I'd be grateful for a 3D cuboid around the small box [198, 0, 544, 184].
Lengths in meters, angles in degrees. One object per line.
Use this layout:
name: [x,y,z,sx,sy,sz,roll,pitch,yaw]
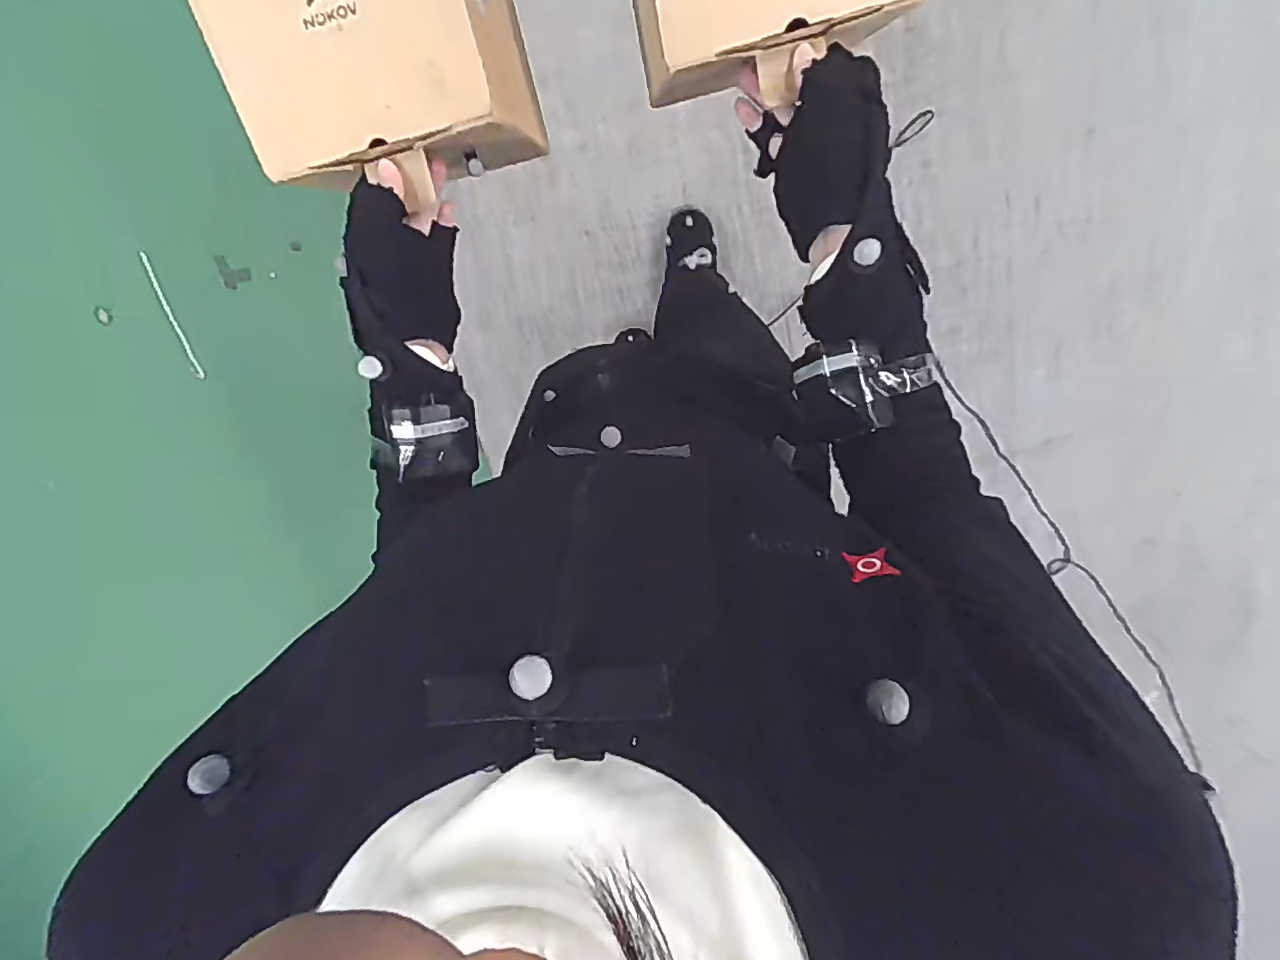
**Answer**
small box: [-0.183,-0.332,0.396,0.168,0.176,0.179,-11,112,8]
